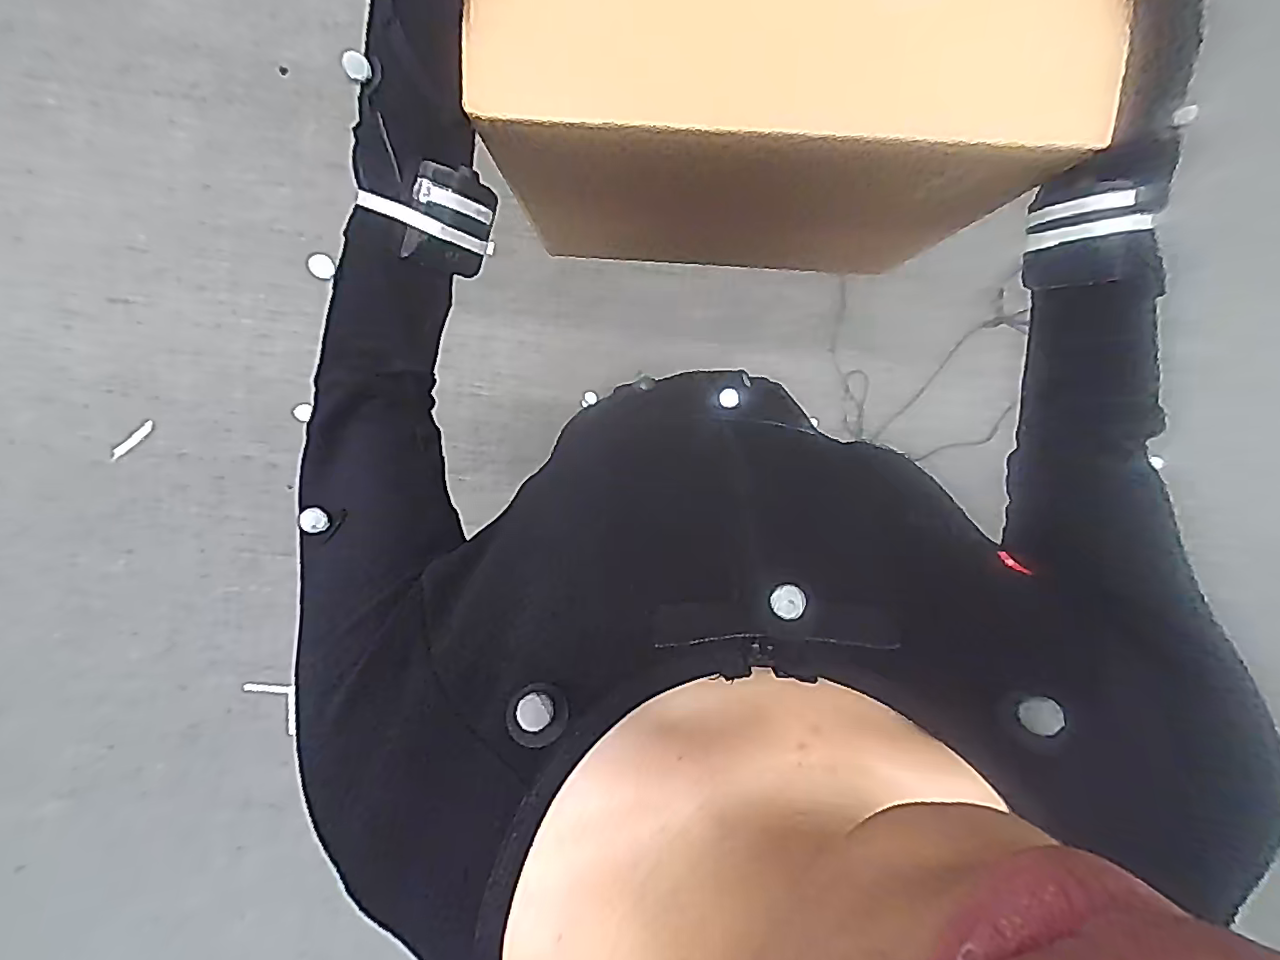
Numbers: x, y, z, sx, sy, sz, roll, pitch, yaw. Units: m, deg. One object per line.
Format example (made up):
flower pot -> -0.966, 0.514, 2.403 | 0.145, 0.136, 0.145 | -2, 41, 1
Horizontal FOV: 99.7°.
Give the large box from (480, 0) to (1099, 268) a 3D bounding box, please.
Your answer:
large box -> 0.095, -0.394, 0.486 | 0.408, 0.320, 0.320 | 2, 97, -1
